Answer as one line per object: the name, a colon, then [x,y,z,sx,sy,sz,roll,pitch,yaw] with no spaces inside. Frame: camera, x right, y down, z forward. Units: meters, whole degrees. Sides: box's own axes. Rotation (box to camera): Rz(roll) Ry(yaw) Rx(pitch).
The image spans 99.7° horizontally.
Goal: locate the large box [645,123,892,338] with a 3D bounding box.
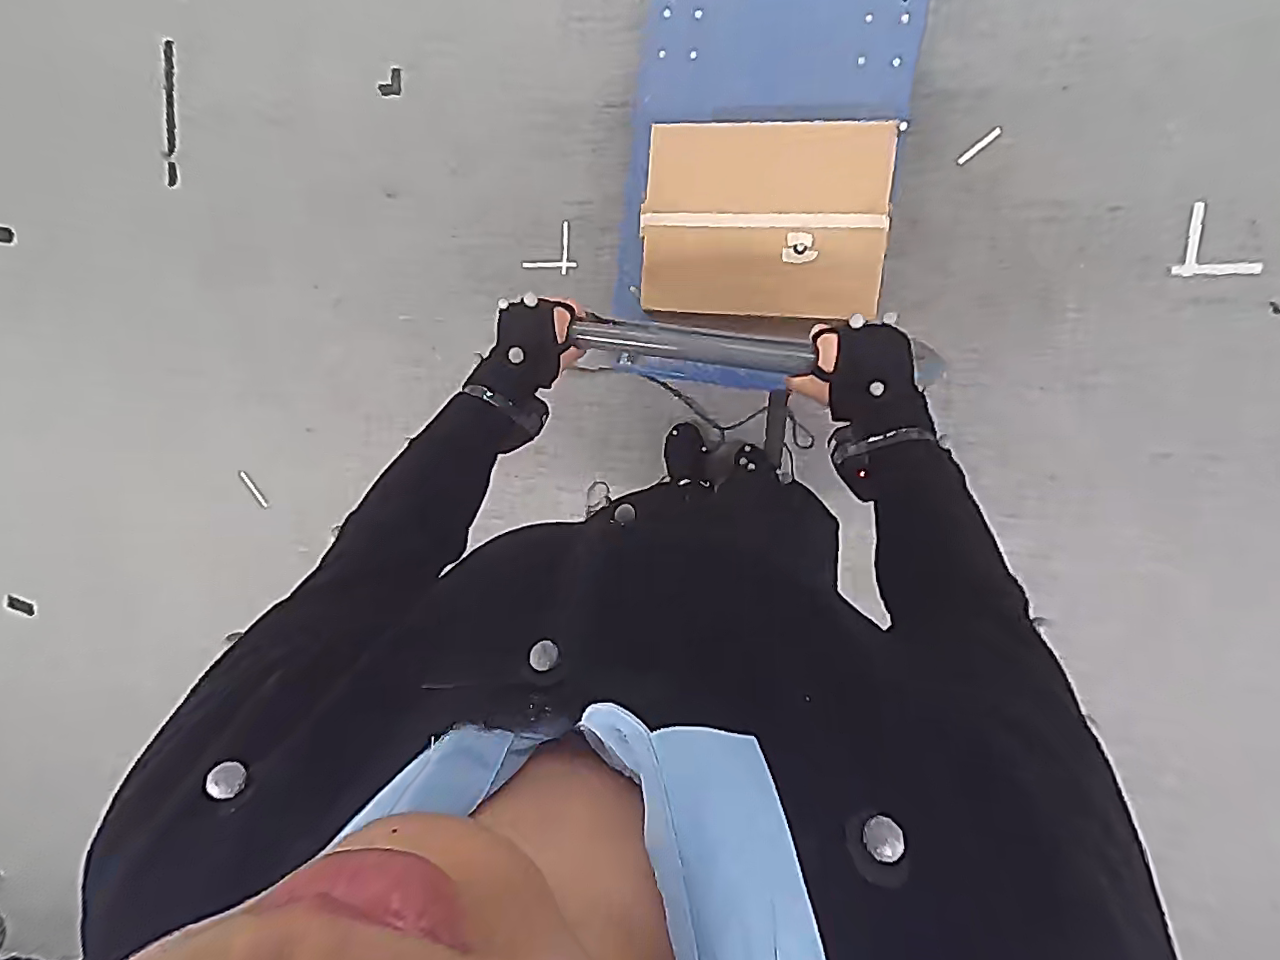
large box: [0.232,-0.464,1.077,0.408,0.320,0.320,5,99,8]
